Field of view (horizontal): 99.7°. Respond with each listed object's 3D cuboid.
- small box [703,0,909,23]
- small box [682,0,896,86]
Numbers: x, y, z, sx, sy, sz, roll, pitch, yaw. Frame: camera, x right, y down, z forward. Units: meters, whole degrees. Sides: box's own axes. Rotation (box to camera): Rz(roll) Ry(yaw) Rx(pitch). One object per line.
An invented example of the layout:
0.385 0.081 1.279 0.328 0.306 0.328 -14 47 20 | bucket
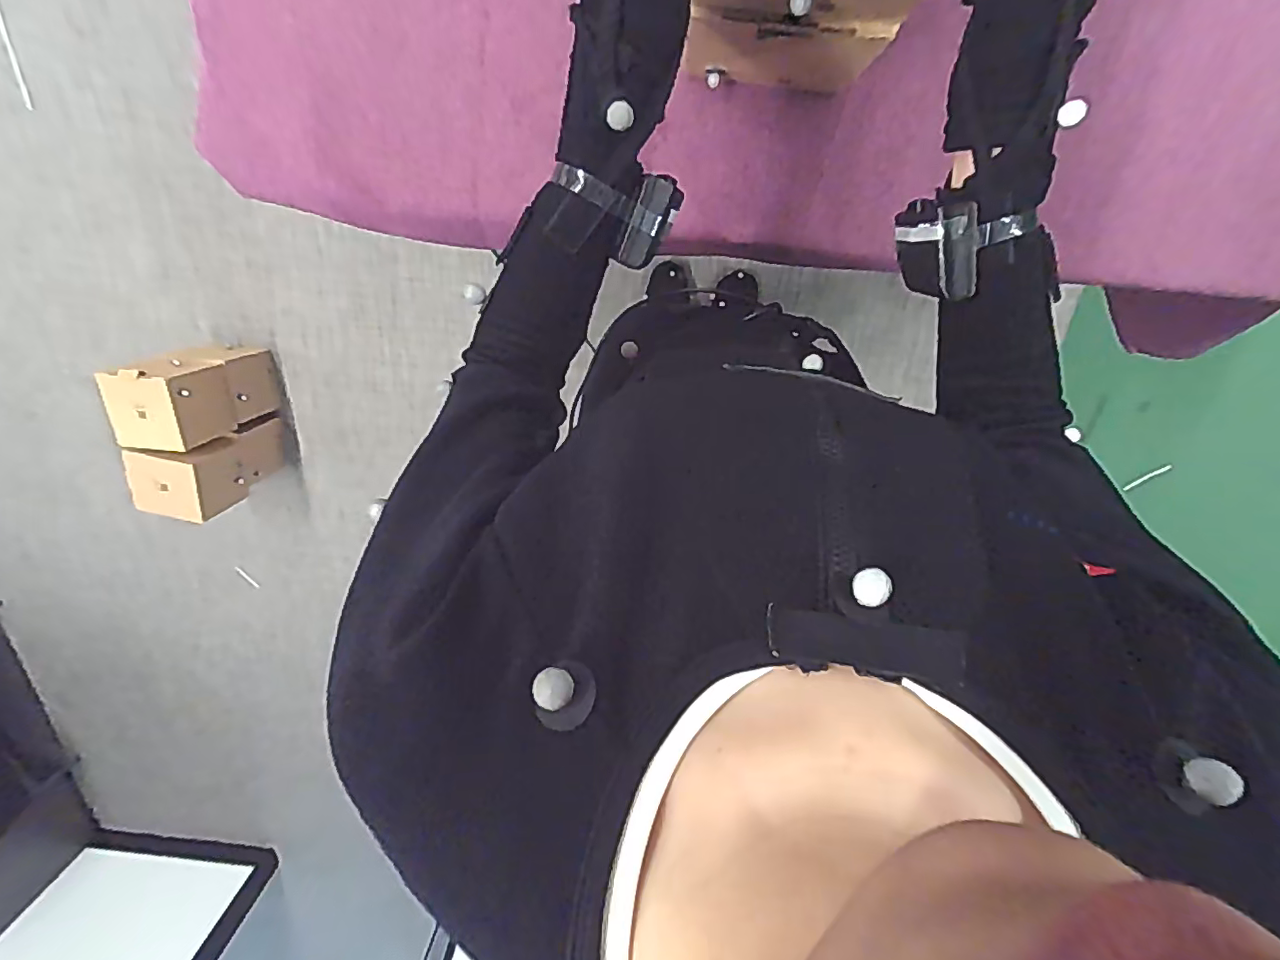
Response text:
0.117 -0.405 0.305 0.168 0.176 0.179 8 114 2 | small box
0.131 -0.463 0.458 0.168 0.176 0.179 8 113 2 | small box
